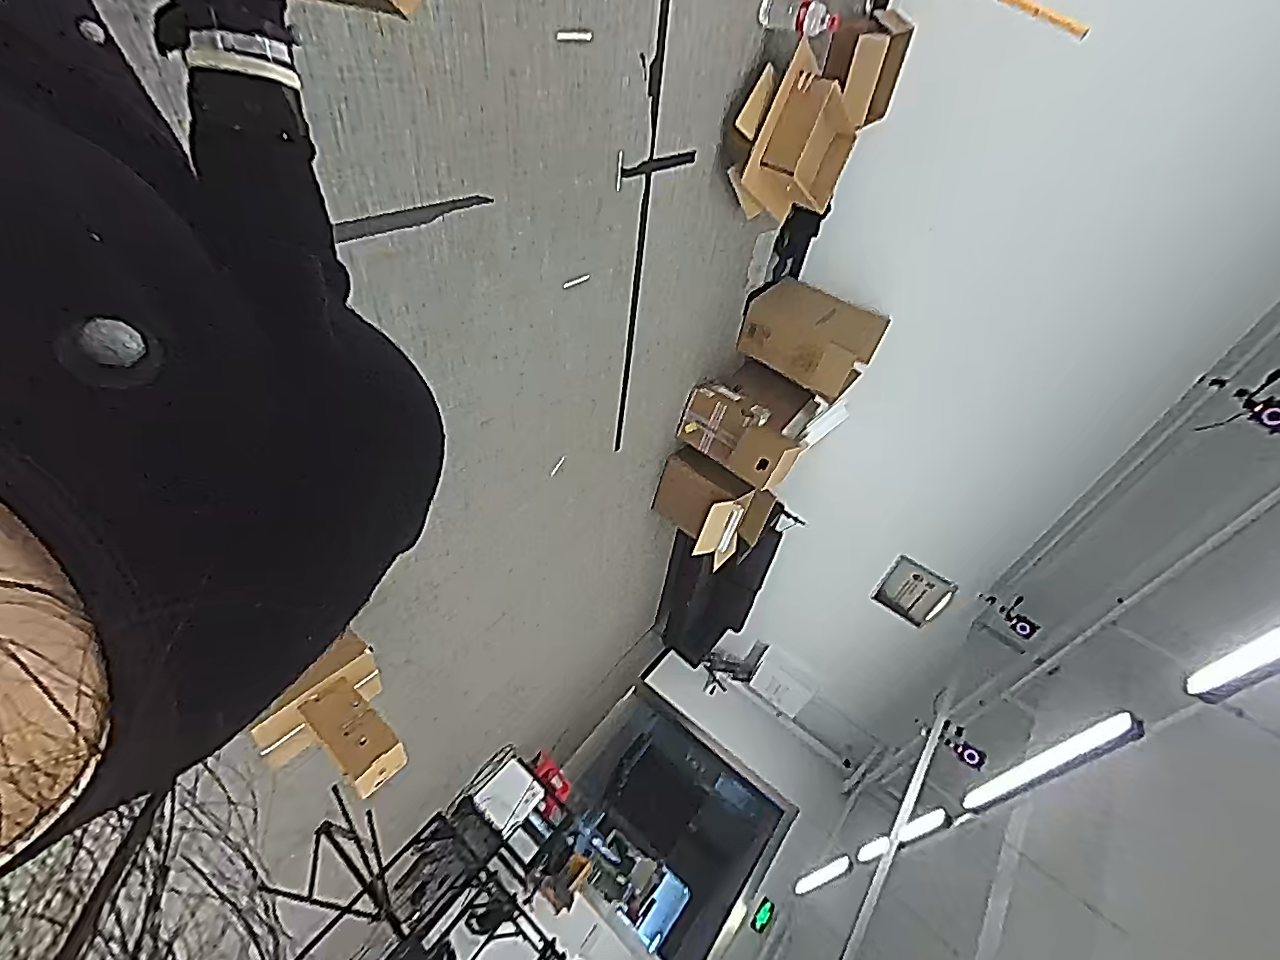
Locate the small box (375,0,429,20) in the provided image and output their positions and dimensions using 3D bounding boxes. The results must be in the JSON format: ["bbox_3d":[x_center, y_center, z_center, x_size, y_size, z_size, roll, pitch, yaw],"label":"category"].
[{"bbox_3d":[-0.172,-0.358,0.236,0.179,0.176,0.168,-63,154,6],"label":"small box"}]

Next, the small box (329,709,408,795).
[{"bbox_3d":[-0.912,0.905,1.817,0.168,0.176,0.179,-36,149,-41],"label":"small box"}]
